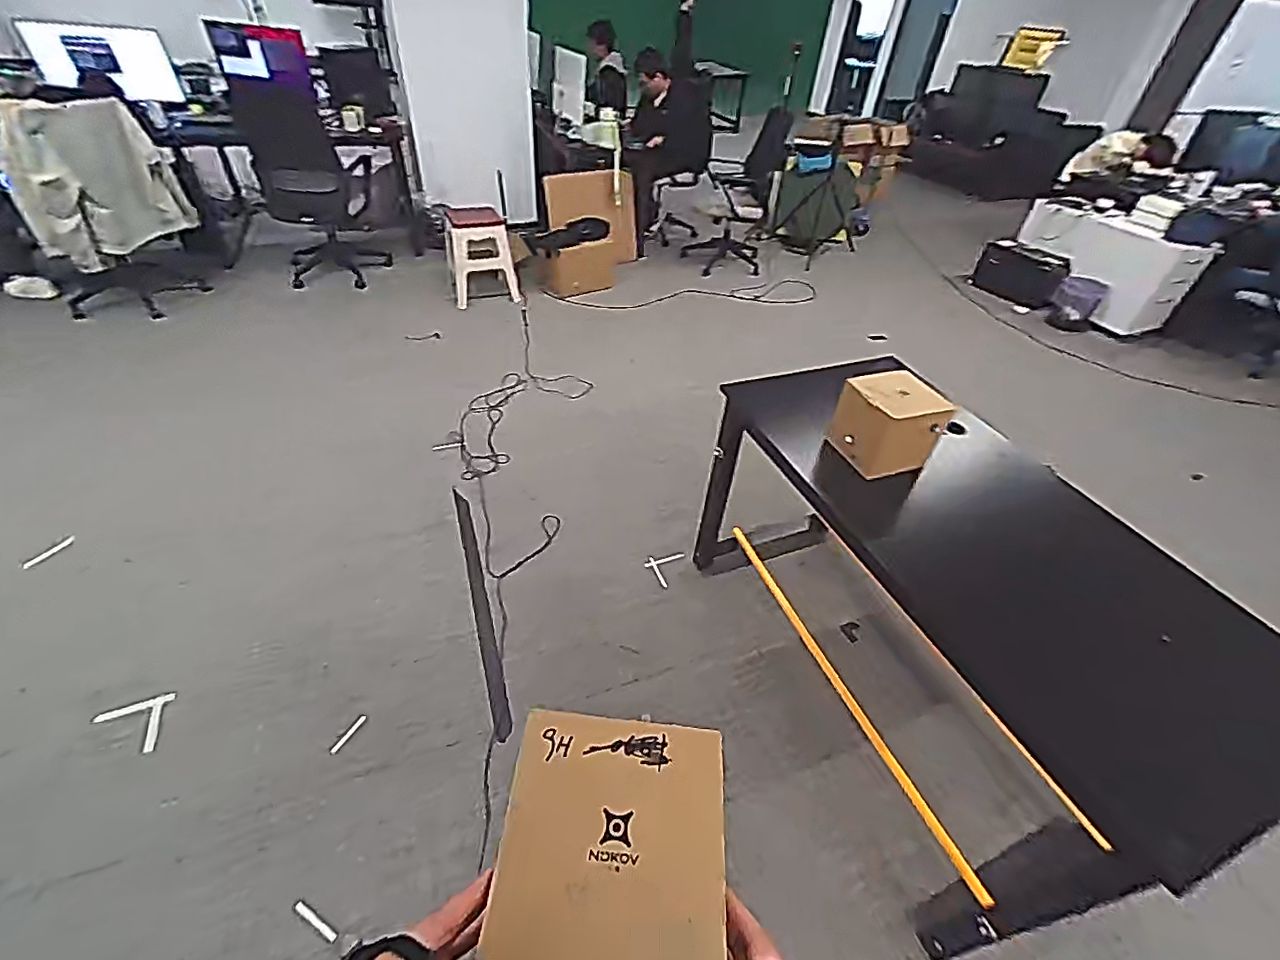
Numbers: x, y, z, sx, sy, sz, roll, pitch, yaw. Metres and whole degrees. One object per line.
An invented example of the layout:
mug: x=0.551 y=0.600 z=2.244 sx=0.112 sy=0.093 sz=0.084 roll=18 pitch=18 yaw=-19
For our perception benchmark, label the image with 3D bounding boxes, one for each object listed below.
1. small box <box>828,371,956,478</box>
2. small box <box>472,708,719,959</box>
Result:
small box: x=0.568 y=-0.127 z=1.244 sx=0.179 sy=0.176 sz=0.168 roll=-11 pitch=44 yaw=-18
small box: x=-0.029 y=0.318 z=0.460 sx=0.168 sy=0.176 sz=0.179 roll=7 pitch=49 yaw=-1
